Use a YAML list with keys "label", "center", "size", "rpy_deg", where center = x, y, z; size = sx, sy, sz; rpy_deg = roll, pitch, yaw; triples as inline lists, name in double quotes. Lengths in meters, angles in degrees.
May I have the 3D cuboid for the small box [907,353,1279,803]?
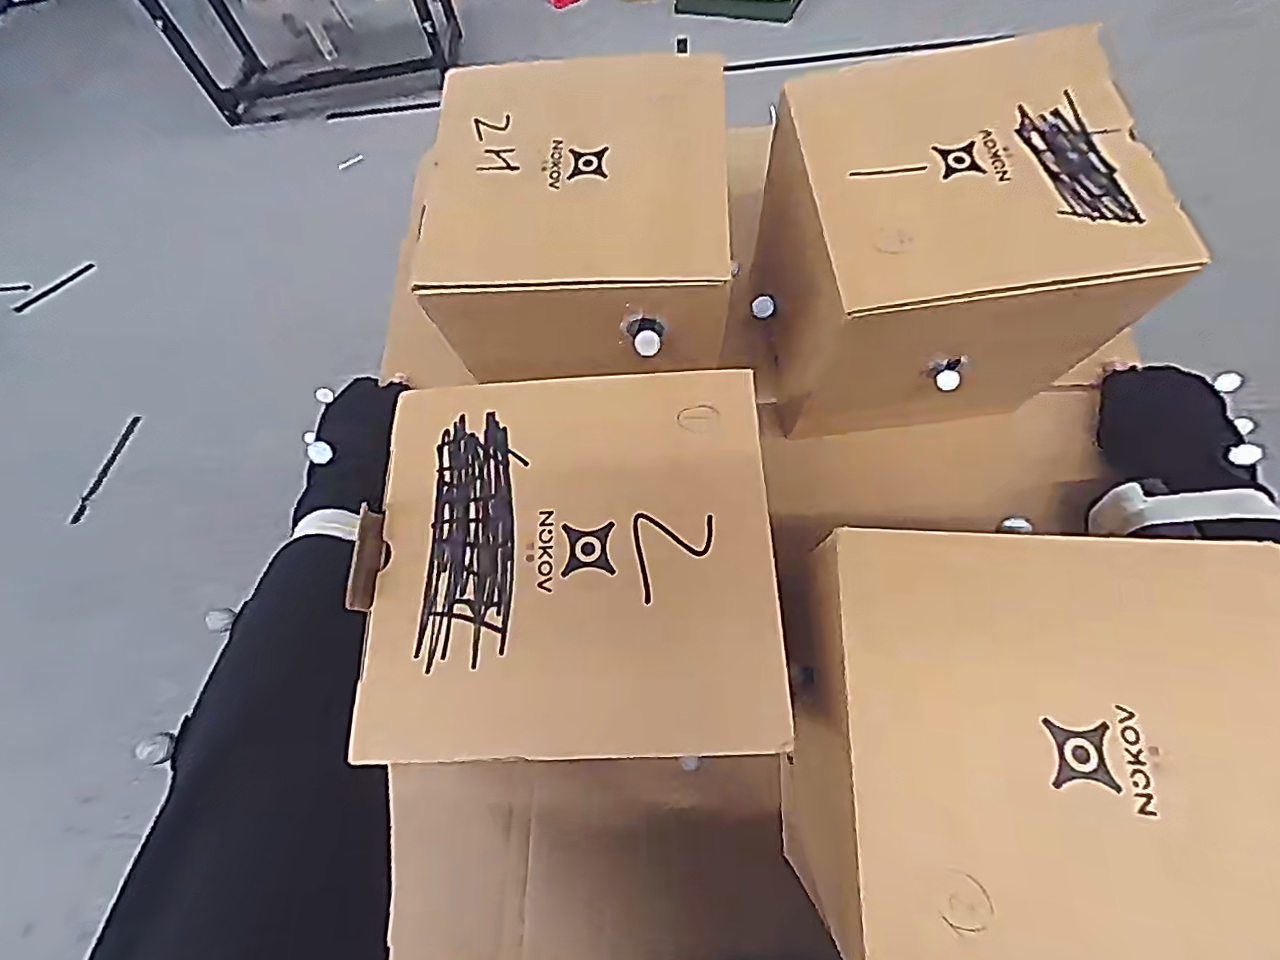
- label: "small box"
  center: [0.271, 0.054, 0.279]
  size: [0.179, 0.176, 0.168]
  rpy_deg: [14, 83, 8]
